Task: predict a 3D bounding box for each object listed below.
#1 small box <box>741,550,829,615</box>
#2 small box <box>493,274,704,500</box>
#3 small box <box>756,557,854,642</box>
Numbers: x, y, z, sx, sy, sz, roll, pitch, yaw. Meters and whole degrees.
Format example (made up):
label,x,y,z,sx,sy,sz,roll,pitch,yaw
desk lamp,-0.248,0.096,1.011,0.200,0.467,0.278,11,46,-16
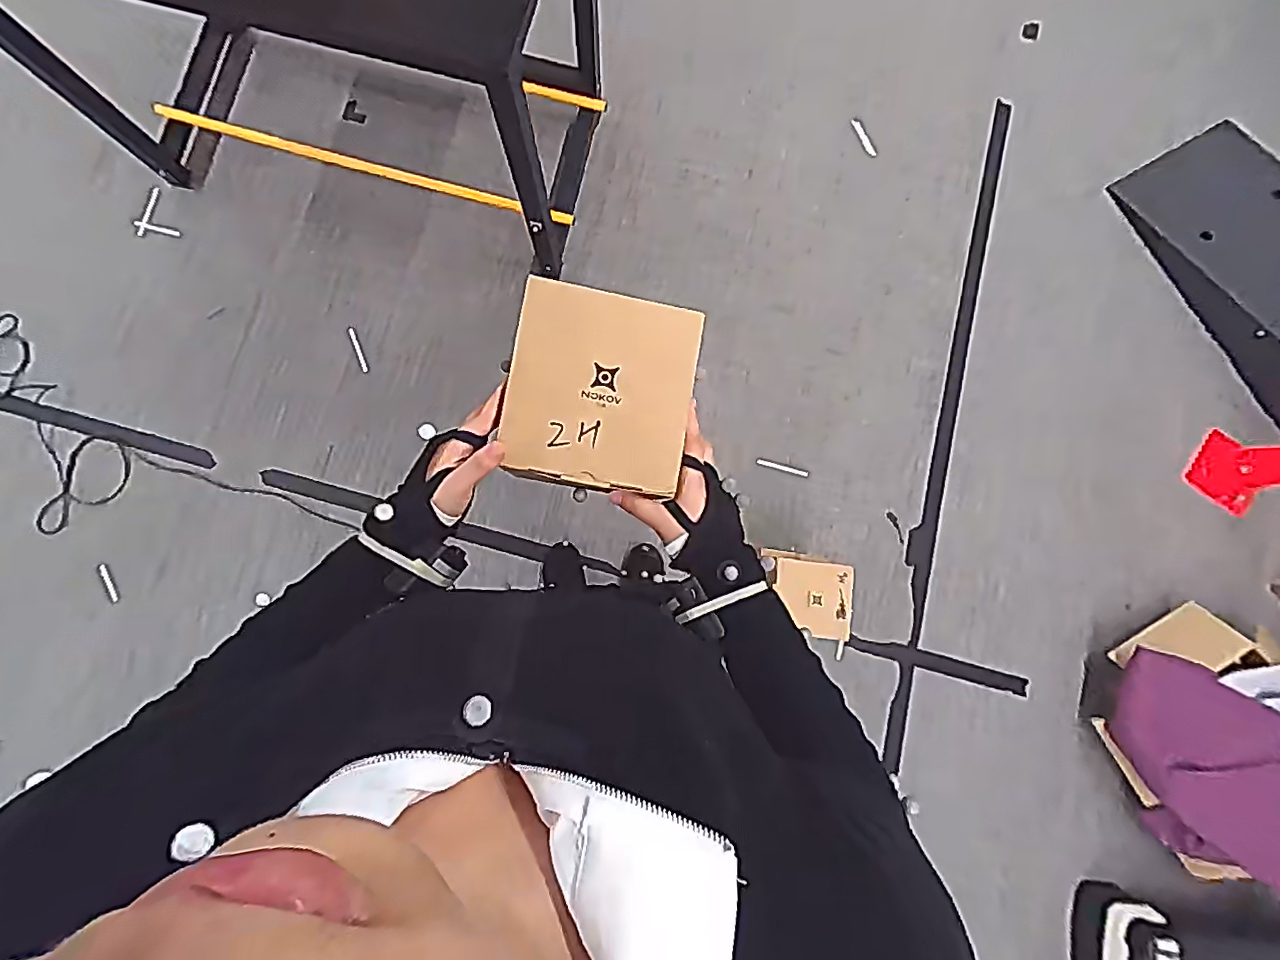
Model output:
label,x,y,z,sx,sy,sz,roll,pitch,yaw
small box,0.378,0.278,1.432,0.179,0.176,0.168,8,82,1
small box,-0.044,-0.079,0.560,0.168,0.176,0.179,10,85,-6
small box,0.378,0.275,1.267,0.179,0.176,0.168,7,82,0
